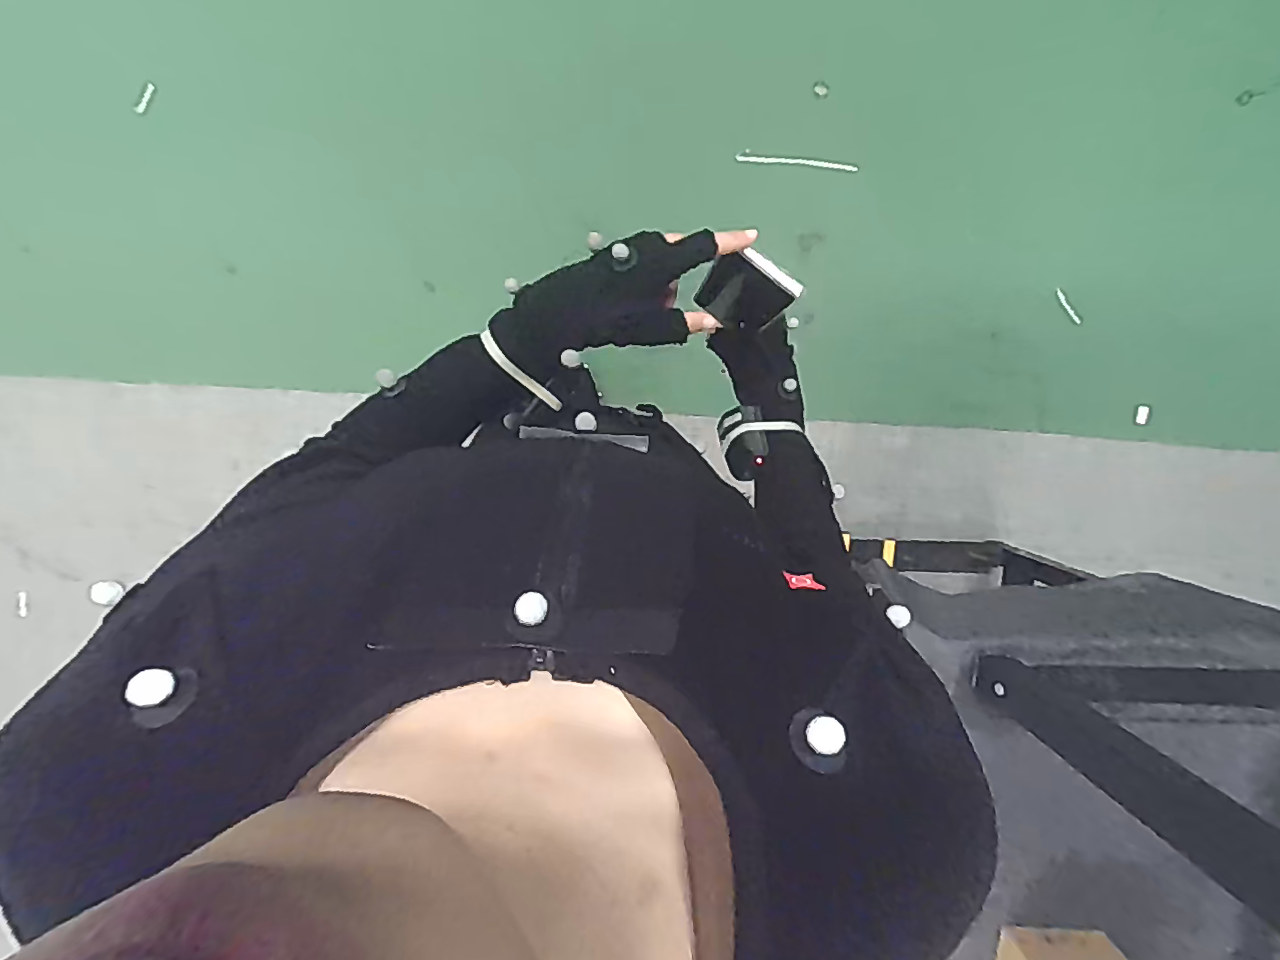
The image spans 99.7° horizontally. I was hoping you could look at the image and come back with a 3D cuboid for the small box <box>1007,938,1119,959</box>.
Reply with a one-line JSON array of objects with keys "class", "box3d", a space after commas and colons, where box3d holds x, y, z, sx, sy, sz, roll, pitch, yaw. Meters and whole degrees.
[{"class": "small box", "box3d": [0.639, 0.795, 0.759, 0.168, 0.176, 0.179, 5, 97, -2]}]
